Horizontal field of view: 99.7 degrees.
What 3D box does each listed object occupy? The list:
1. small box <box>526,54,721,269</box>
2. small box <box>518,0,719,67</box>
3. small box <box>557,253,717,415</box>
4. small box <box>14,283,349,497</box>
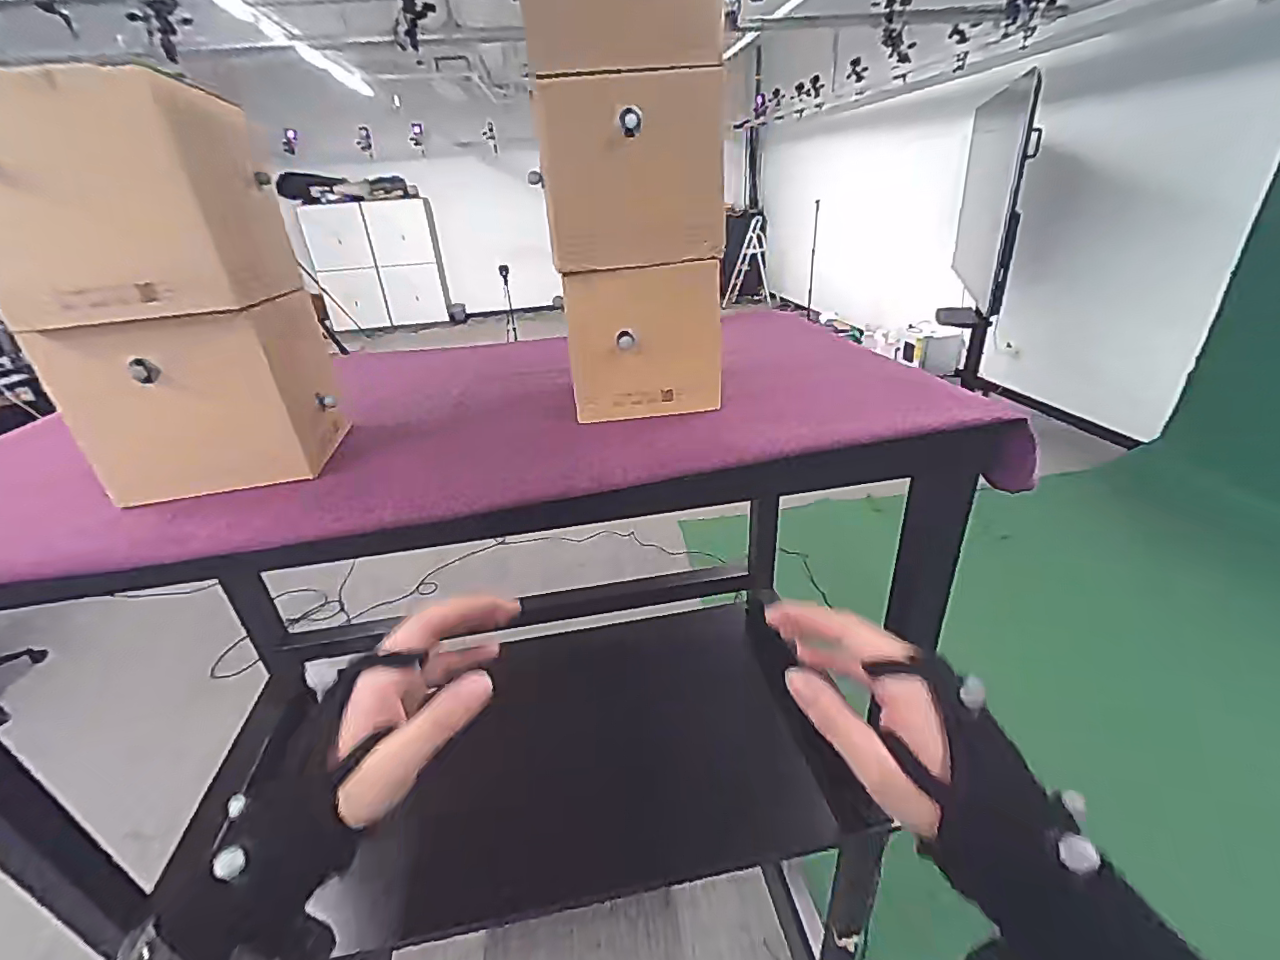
[{"bbox_3d":[-0.018,-0.324,0.576,0.179,0.176,0.168,-8,27,-6],"label":"small box"},{"bbox_3d":[-0.029,-0.475,0.512,0.179,0.176,0.168,-7,27,-5],"label":"small box"},{"bbox_3d":[-0.004,-0.183,0.657,0.168,0.176,0.179,-7,27,-3],"label":"small box"},{"bbox_3d":[-0.431,-0.097,0.552,0.179,0.176,0.168,-10,28,-10],"label":"small box"}]
